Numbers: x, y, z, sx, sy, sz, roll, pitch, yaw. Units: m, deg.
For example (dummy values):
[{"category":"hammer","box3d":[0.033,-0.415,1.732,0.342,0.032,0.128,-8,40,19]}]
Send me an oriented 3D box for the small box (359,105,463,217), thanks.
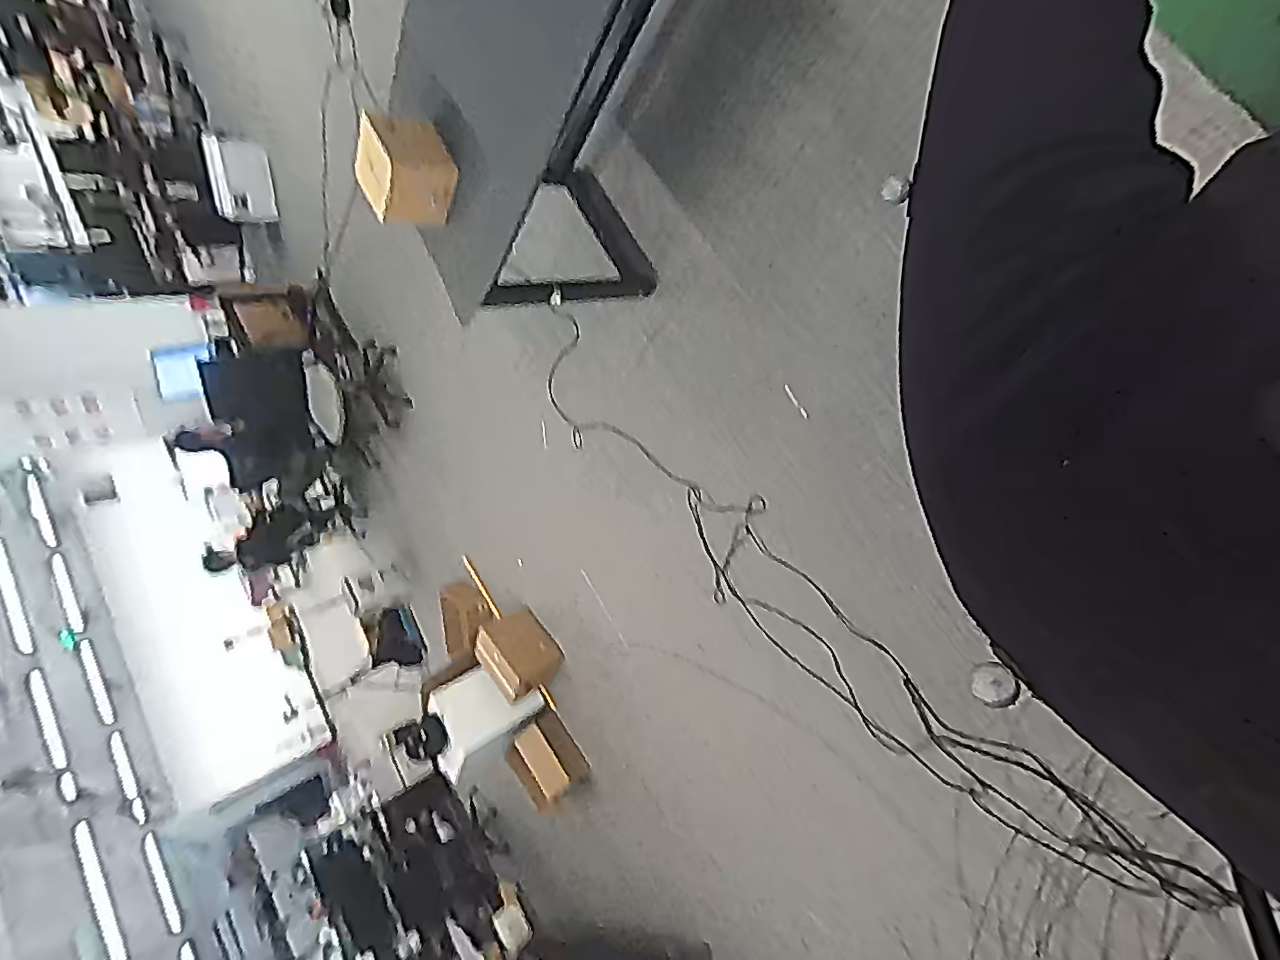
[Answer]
[{"category":"small box","box3d":[-0.571,-0.781,1.345,0.168,0.176,0.179,-43,73,46]}]
